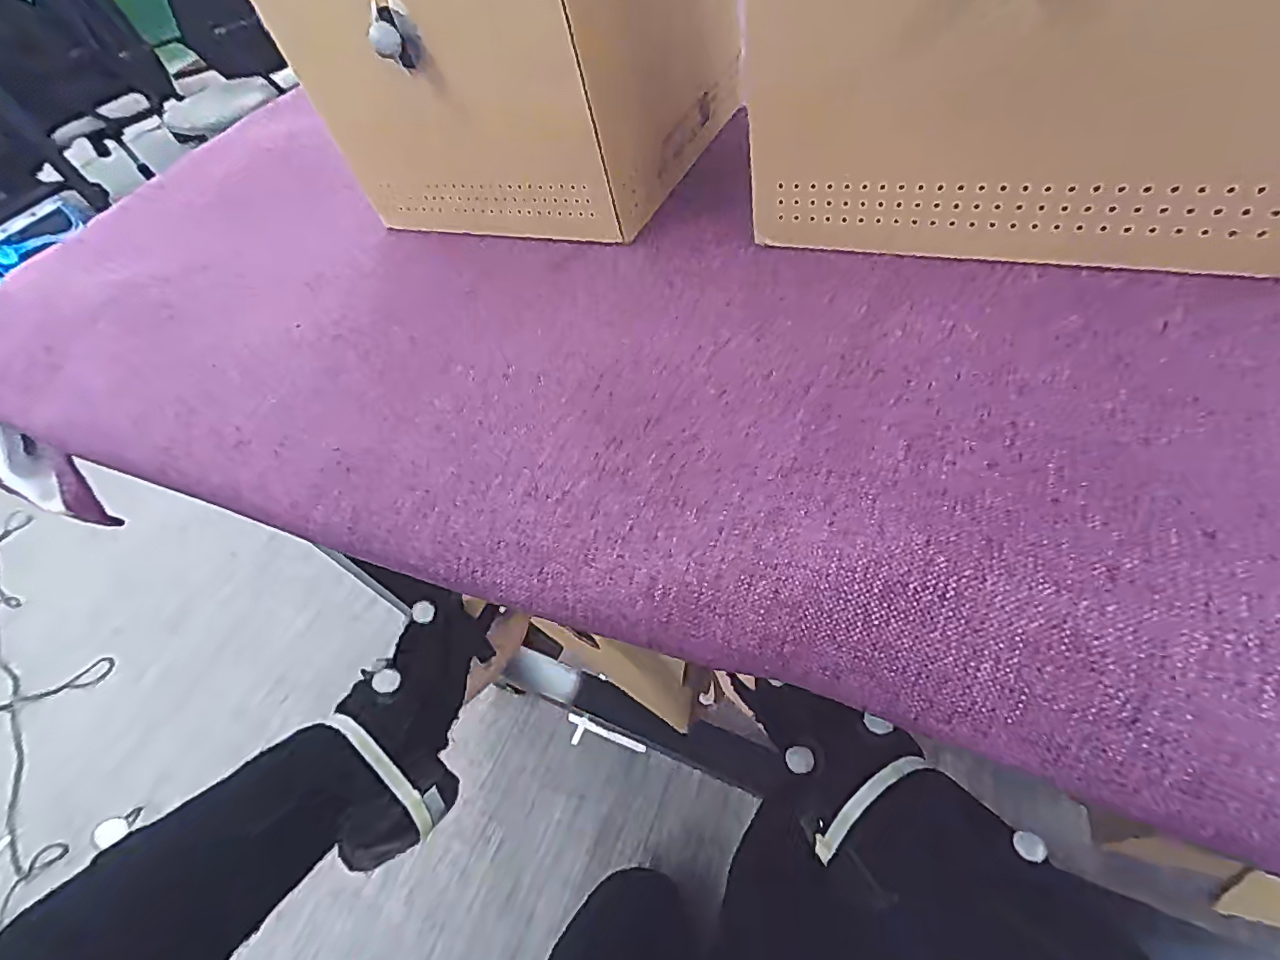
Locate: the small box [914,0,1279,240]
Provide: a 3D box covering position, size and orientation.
[{"bbox_3d":[0.191,-0.196,0.150,0.179,0.176,0.168,-6,91,16],"label":"small box"}]
